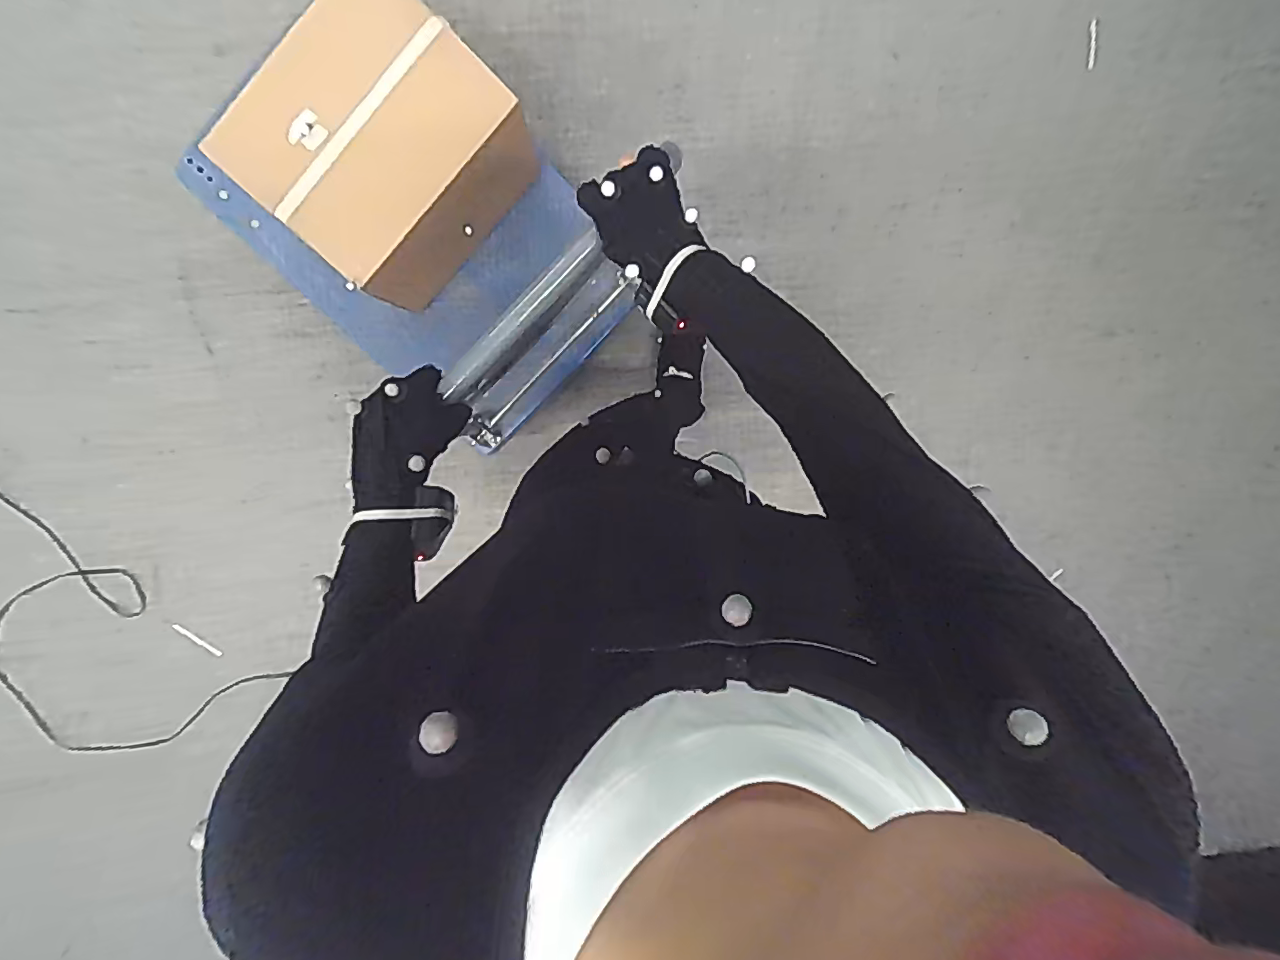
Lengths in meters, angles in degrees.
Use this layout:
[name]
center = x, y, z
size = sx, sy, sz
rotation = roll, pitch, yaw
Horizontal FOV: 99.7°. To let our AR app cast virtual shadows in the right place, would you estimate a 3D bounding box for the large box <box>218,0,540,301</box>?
[large box]
center = -0.442, -0.609, 1.014
size = 0.320, 0.320, 0.408
rotation = 42, 96, -9
